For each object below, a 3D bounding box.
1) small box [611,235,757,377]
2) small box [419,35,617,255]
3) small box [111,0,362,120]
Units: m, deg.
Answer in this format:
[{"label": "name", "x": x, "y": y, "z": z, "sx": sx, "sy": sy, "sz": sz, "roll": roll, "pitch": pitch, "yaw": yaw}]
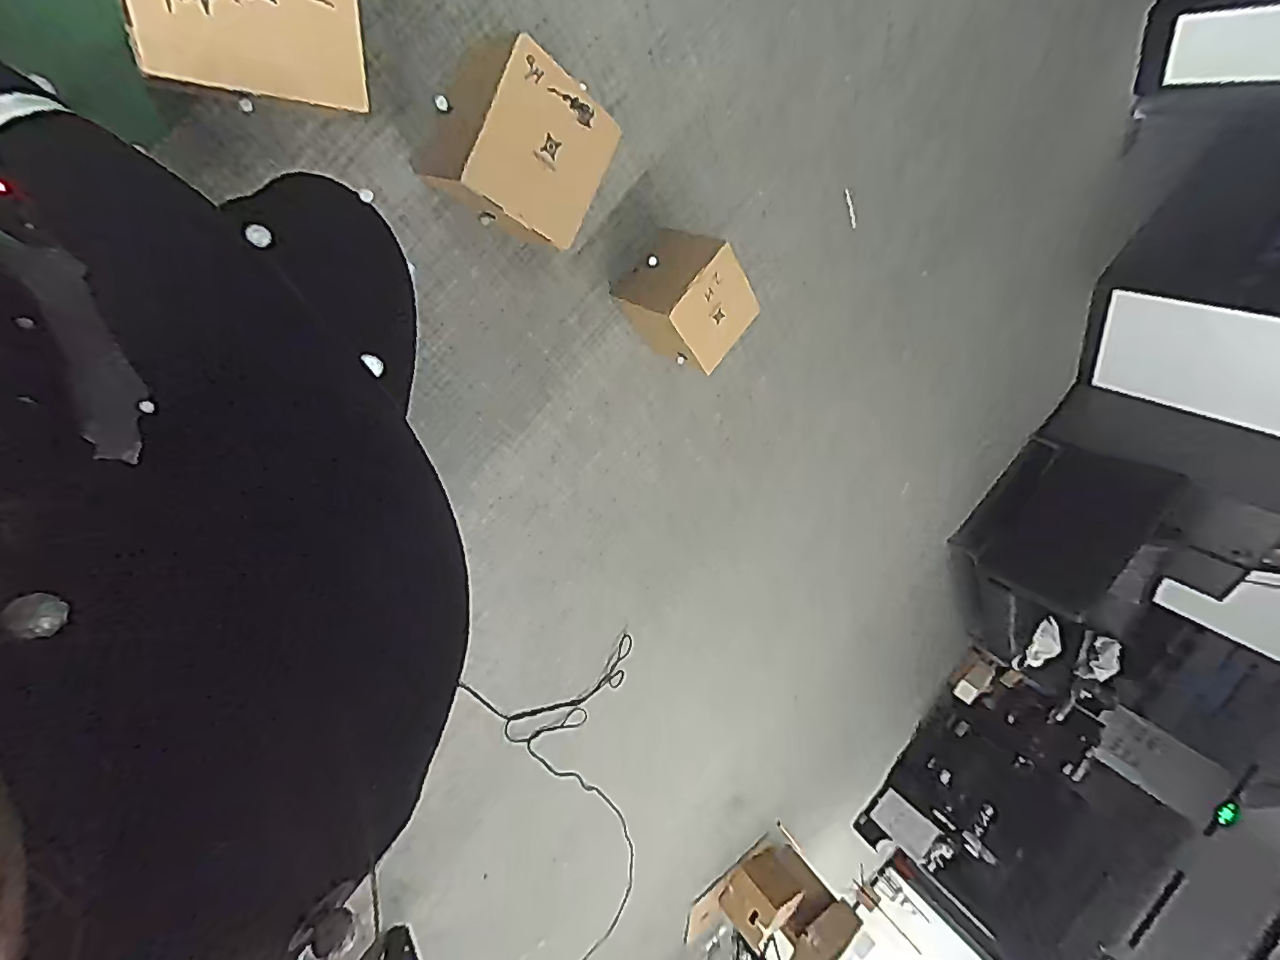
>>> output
[{"label": "small box", "x": 0.082, "y": -0.328, "z": 1.008, "sx": 0.168, "sy": 0.176, "sz": 0.179, "roll": -52, "pitch": 139, "yaw": -3}, {"label": "small box", "x": -0.168, "y": -0.432, "z": 0.716, "sx": 0.168, "sy": 0.176, "sz": 0.179, "roll": 18, "pitch": 104, "yaw": -47}, {"label": "small box", "x": -0.385, "y": -0.450, "z": 0.508, "sx": 0.179, "sy": 0.176, "sz": 0.168, "roll": -15, "pitch": 125, "yaw": -36}]
